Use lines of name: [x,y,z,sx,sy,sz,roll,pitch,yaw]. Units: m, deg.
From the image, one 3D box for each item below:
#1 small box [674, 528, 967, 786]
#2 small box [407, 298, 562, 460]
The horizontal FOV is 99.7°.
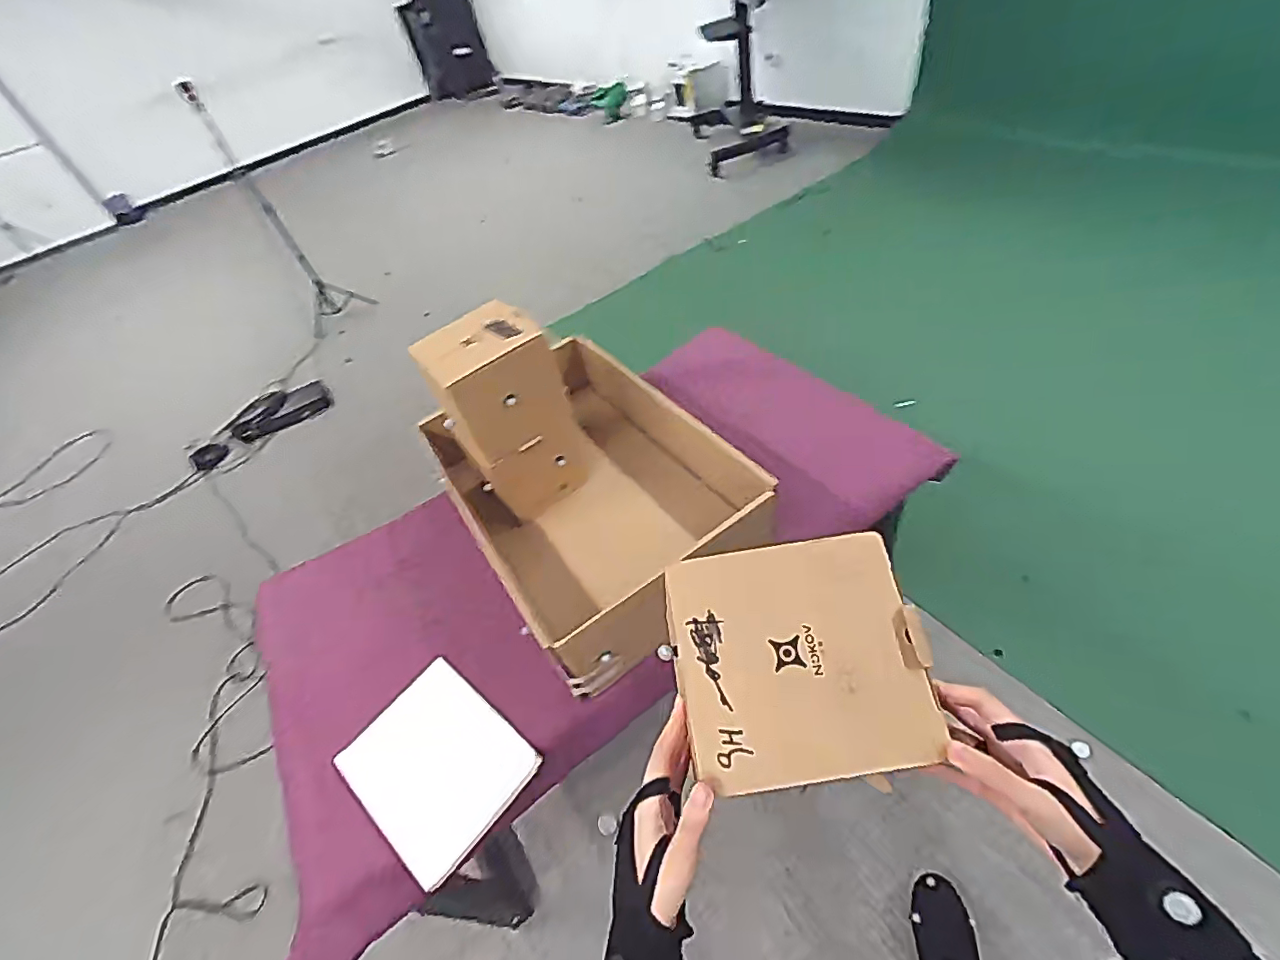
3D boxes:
small box: [0.126,0.153,0.461,0.179,0.176,0.168,-7,64,-1]
small box: [-0.248,-0.168,0.904,0.179,0.176,0.168,-36,50,-17]
